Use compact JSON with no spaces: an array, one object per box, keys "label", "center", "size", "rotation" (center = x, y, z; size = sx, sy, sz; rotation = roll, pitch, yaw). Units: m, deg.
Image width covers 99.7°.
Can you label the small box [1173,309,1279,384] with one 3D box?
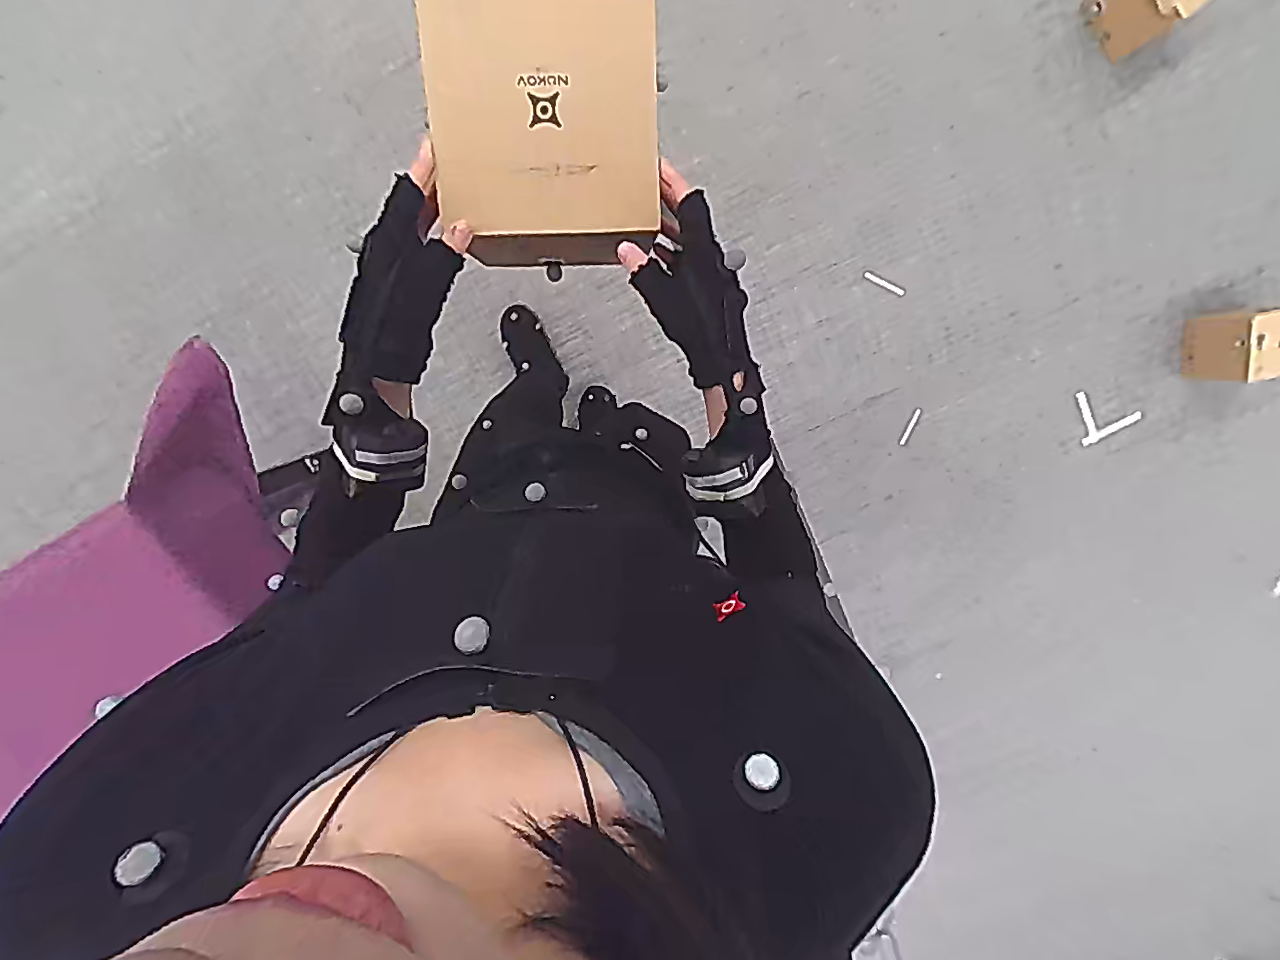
[{"label":"small box","center":[1.579,-0.354,1.426],"size":[0.179,0.176,0.168],"rotation":[-11,103,0]}]

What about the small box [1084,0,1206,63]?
[{"label":"small box","center":[1.170,-1.115,1.233],"size":[0.179,0.176,0.168],"rotation":[-37,102,5]}]

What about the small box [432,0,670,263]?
[{"label":"small box","center":[-0.065,-0.293,0.463],"size":[0.168,0.176,0.179],"rotation":[-2,104,-2]}]
